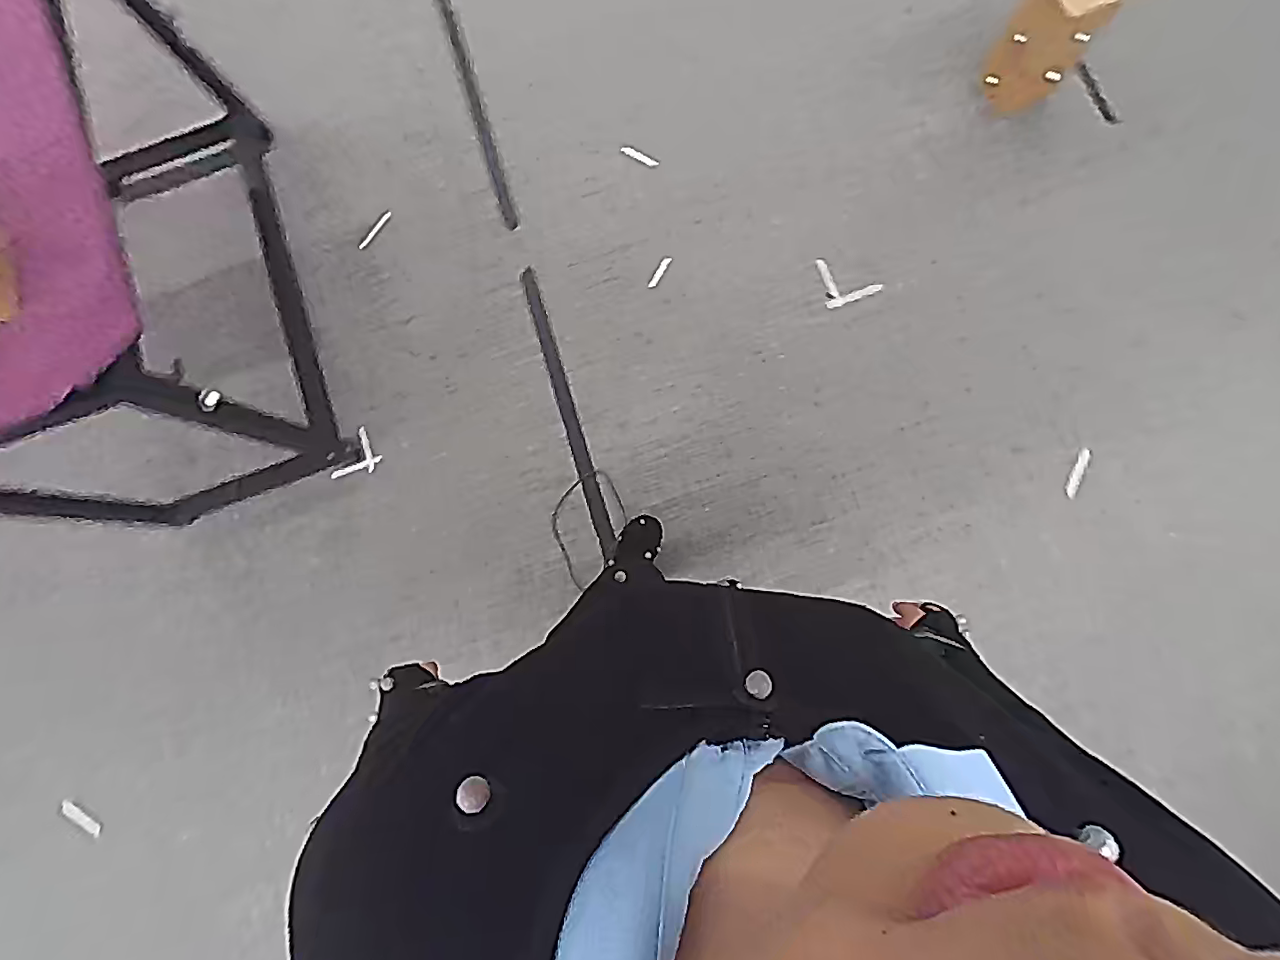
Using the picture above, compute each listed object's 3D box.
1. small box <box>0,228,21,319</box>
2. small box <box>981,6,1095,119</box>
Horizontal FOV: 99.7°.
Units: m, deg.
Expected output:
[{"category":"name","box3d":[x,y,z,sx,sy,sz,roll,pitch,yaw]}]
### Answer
[{"category":"small box","box3d":[-1.121,-0.332,0.817,0.179,0.176,0.168,-21,81,-1]},{"category":"small box","box3d":[1.165,-1.224,1.596,0.179,0.176,0.168,-24,81,-1]}]
